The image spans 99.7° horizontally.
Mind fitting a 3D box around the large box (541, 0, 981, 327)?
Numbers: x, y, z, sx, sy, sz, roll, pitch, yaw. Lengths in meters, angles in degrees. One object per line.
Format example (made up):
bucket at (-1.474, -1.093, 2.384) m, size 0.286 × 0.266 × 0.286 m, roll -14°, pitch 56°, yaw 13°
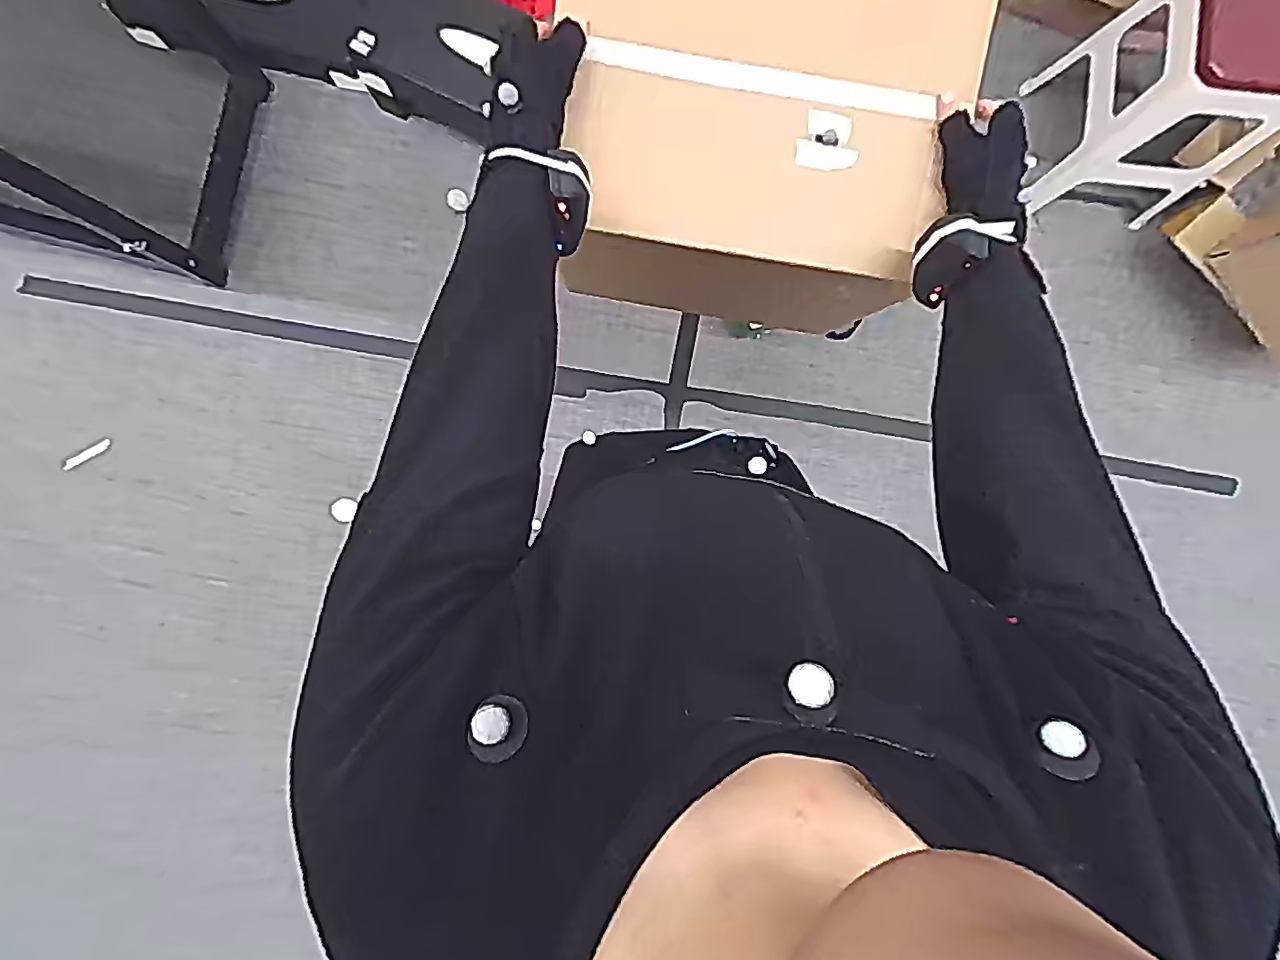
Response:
large box at (0.111, -0.395, 0.670) m, size 0.408 × 0.320 × 0.320 m, roll 8°, pitch 97°, yaw -3°
